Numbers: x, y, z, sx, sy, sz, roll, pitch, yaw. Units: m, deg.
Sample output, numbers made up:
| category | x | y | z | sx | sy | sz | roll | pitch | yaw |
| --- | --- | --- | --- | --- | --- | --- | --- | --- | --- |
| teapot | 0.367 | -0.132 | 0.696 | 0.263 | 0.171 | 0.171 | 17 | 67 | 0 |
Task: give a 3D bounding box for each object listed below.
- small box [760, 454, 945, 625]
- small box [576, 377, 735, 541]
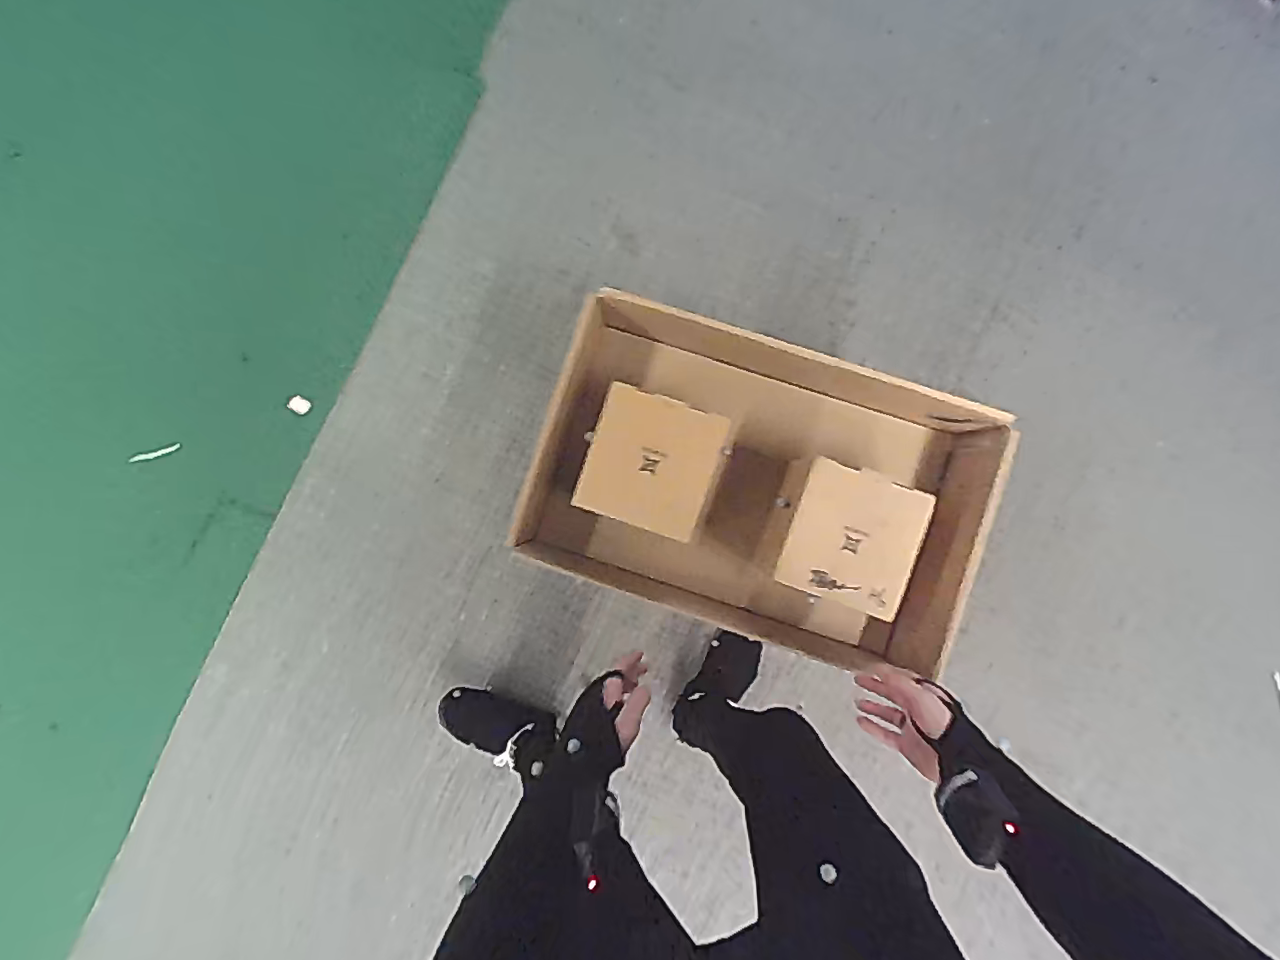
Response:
| category | x | y | z | sx | sy | sz | roll | pitch | yaw |
| --- | --- | --- | --- | --- | --- | --- | --- | --- | --- |
| small box | 0.285 | 0.078 | 0.767 | 0.168 | 0.176 | 0.179 | 21 | 88 | 2 |
| small box | 0.025 | -0.024 | 0.780 | 0.168 | 0.176 | 0.179 | 19 | 88 | 3 |
